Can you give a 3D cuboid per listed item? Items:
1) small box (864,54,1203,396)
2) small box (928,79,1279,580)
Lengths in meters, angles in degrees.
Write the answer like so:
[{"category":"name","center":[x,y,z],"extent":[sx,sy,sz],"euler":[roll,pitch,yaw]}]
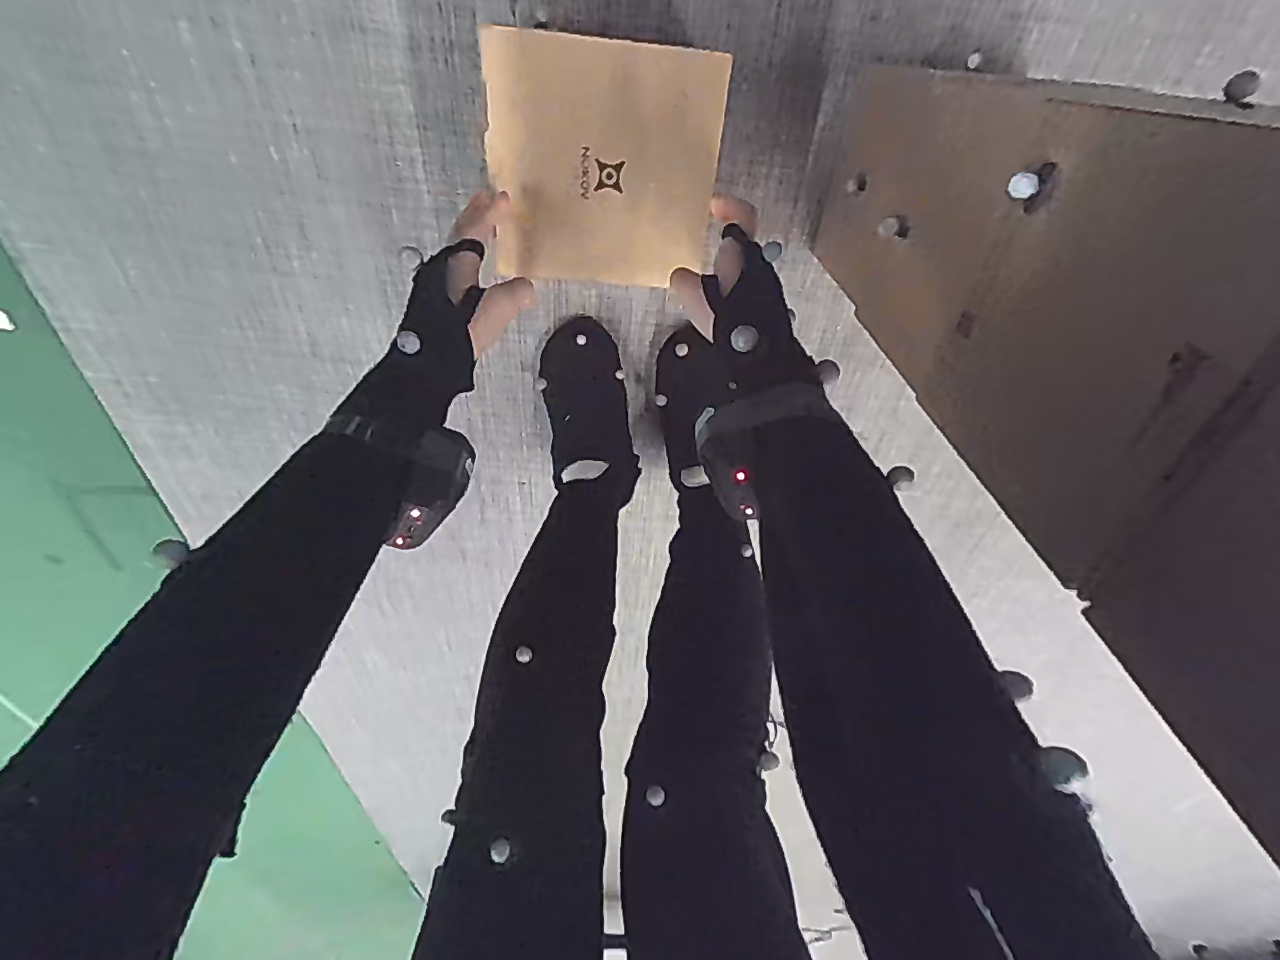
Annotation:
[{"category":"small box","center":[0.276,-0.171,0.372],"extent":[0.168,0.176,0.179],"euler":[2,131,-3]},{"category":"small box","center":[0.268,-0.069,0.243],"extent":[0.179,0.176,0.168],"euler":[3,130,-2]}]
